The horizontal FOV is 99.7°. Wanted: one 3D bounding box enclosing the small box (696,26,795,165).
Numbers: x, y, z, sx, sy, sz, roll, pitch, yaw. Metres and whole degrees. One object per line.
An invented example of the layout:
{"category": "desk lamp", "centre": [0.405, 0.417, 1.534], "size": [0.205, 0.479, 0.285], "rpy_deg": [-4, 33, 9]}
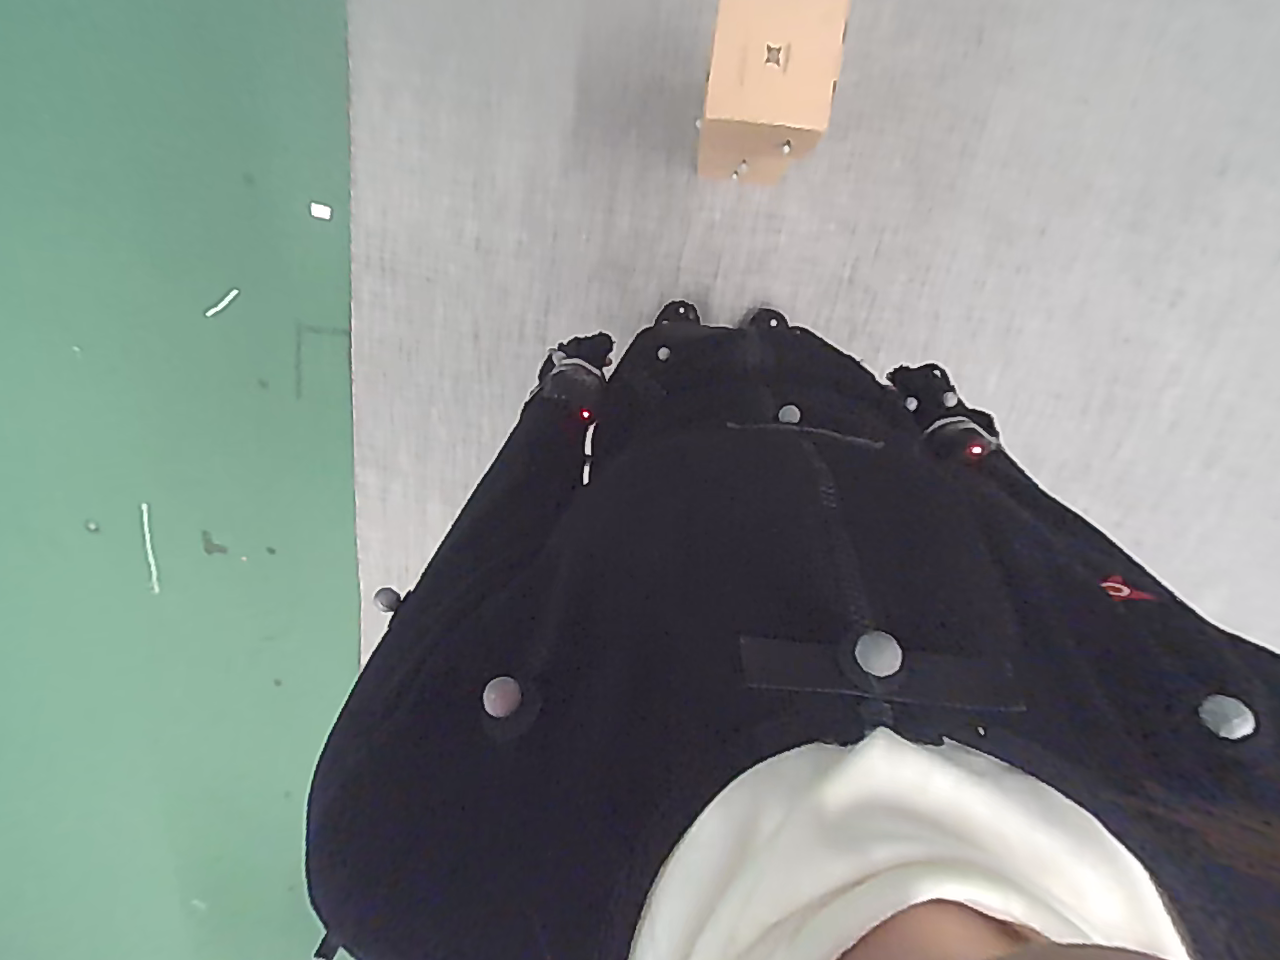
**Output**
{"category": "small box", "centre": [0.198, -0.674, 0.962], "size": [0.179, 0.176, 0.168], "rpy_deg": [7, 110, 2]}

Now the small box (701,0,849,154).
{"category": "small box", "centre": [0.190, -0.607, 0.813], "size": [0.179, 0.176, 0.168], "rpy_deg": [8, 109, 4]}

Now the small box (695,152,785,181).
{"category": "small box", "centre": [0.214, -0.730, 1.115], "size": [0.179, 0.176, 0.168], "rpy_deg": [9, 110, 3]}
